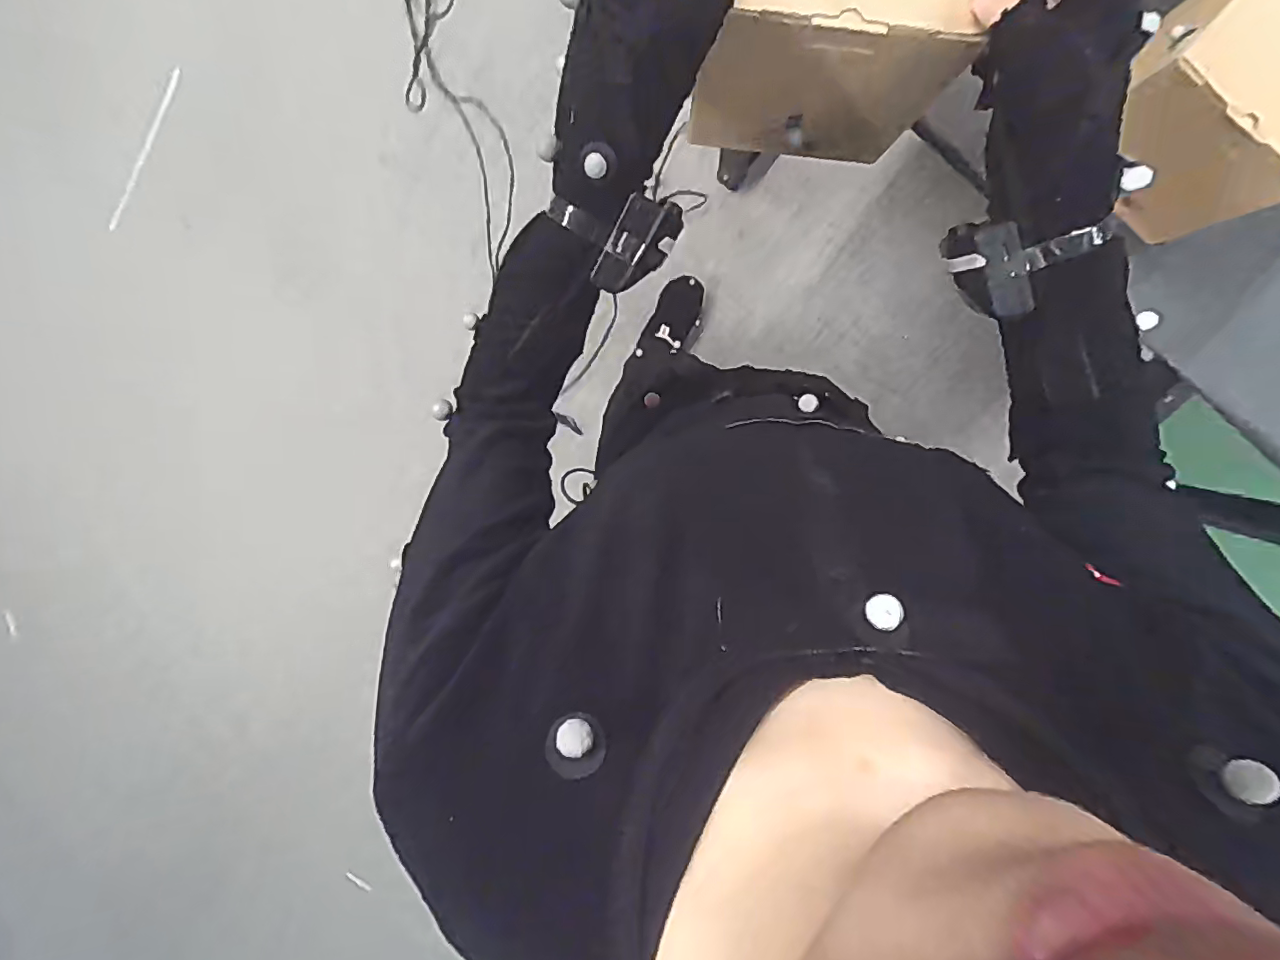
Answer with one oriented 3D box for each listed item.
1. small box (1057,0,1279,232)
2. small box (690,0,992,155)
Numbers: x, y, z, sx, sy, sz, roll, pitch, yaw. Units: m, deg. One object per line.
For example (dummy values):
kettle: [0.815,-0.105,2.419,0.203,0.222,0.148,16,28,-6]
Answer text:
small box: [0.571,-0.380,0.523,0.168,0.176,0.179,40,100,-2]
small box: [0.132,-0.366,0.376,0.168,0.176,0.179,9,99,0]
